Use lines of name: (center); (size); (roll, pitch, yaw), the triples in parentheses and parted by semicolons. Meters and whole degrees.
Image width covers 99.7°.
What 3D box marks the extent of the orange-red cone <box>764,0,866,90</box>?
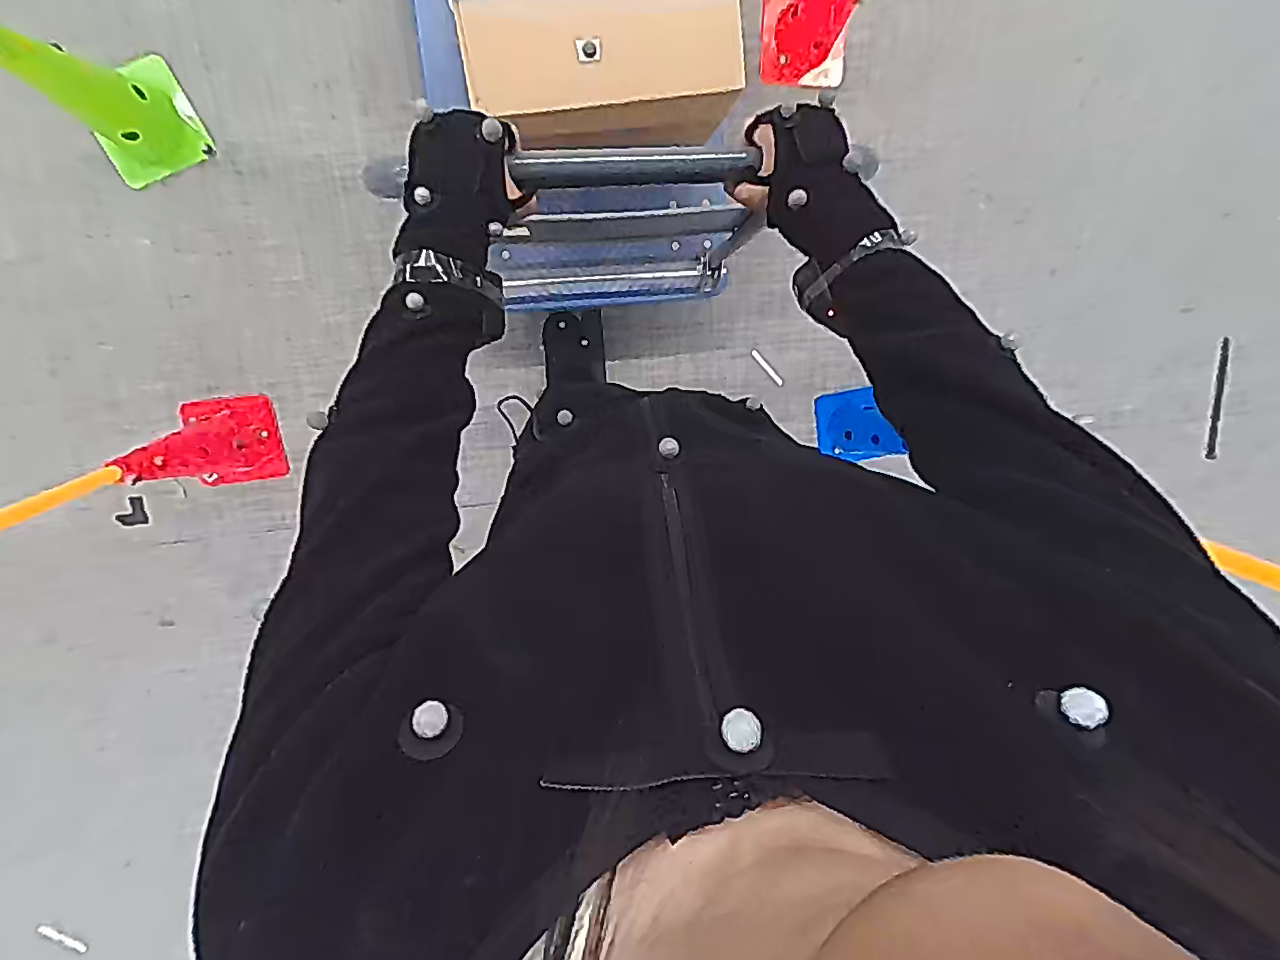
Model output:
orange-red cone: (0.411, -0.974, 1.074); (0.199, 0.360, 0.198); (0, 104, -9)

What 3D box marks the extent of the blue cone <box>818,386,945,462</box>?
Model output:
blue cone: (0.603, -0.116, 1.315); (0.193, 0.380, 0.192); (-10, 103, -6)
